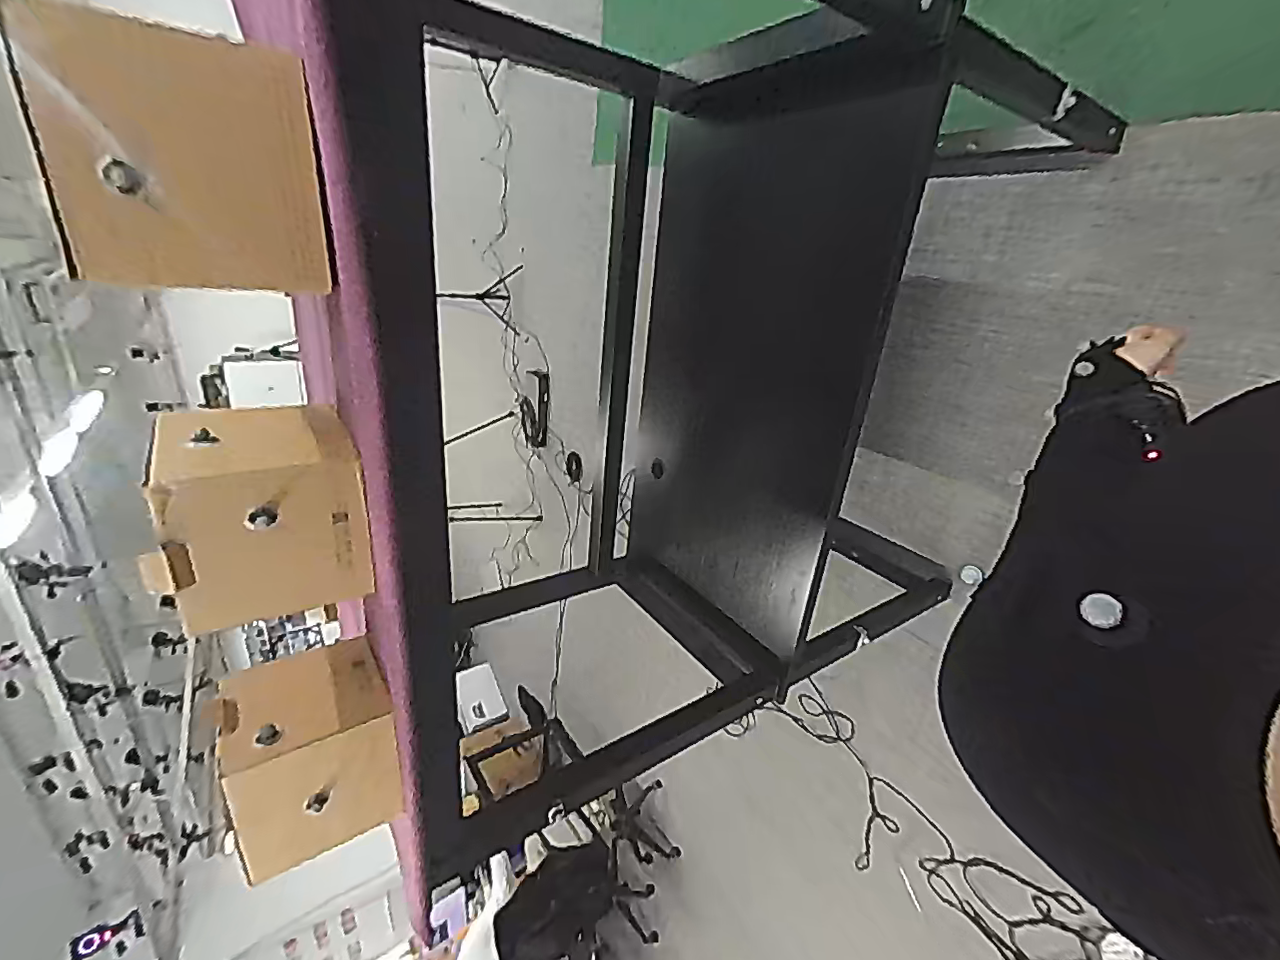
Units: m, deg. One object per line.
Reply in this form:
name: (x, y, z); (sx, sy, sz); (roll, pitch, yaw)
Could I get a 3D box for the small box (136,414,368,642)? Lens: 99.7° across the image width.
small box: (-0.396, 0.034, 0.575); (0.179, 0.176, 0.168); (36, 126, 46)

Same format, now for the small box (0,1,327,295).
small box: (-0.378, -0.257, 0.462); (0.168, 0.176, 0.179); (34, 126, 50)
